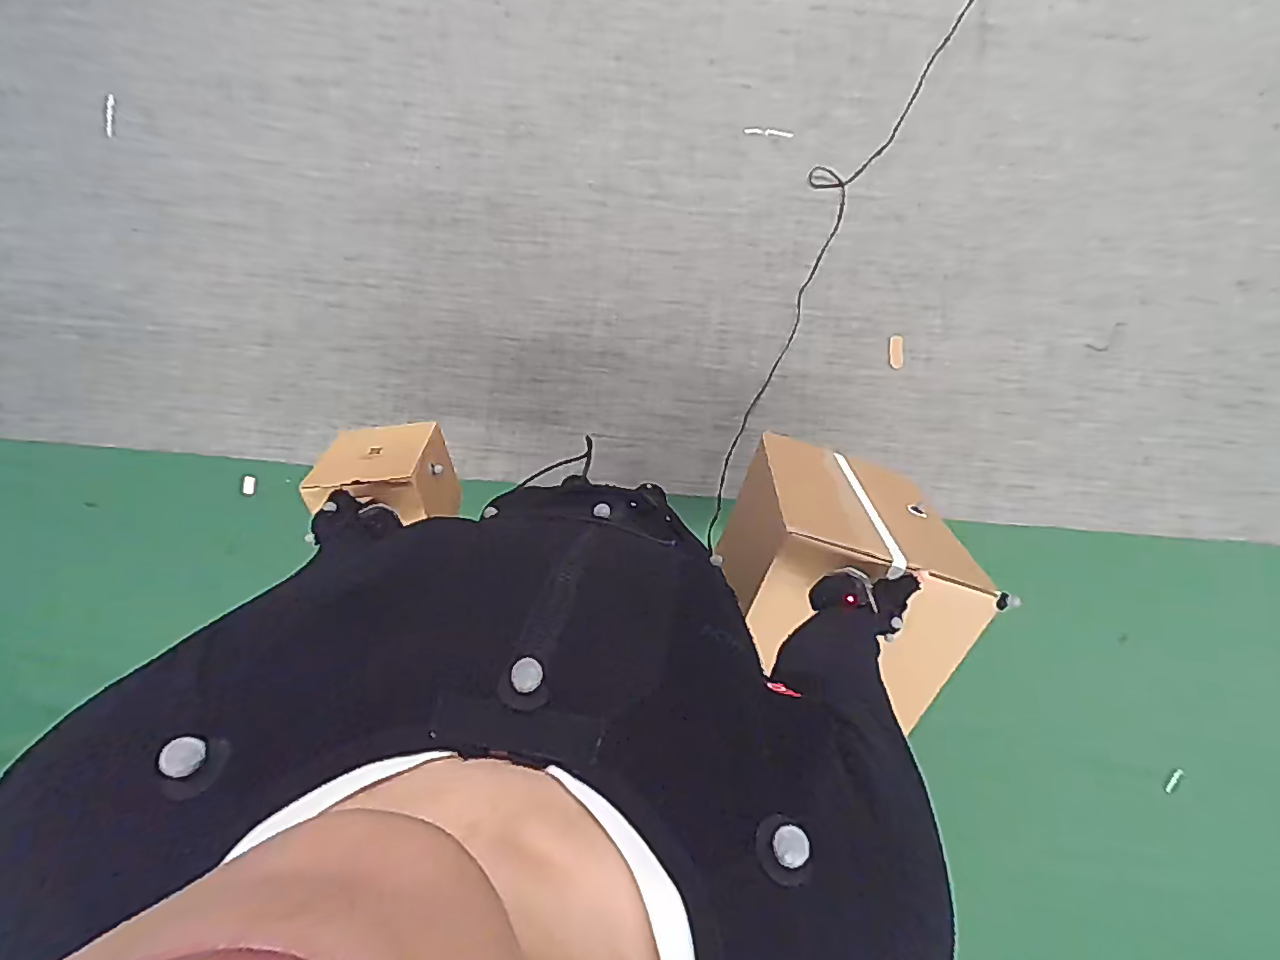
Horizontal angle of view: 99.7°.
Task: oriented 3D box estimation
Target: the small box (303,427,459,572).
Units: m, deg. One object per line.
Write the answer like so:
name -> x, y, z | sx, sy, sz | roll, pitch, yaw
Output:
small box -> -0.415, 0.030, 0.905 | 0.168, 0.179, 0.176 | -6, 125, -1
